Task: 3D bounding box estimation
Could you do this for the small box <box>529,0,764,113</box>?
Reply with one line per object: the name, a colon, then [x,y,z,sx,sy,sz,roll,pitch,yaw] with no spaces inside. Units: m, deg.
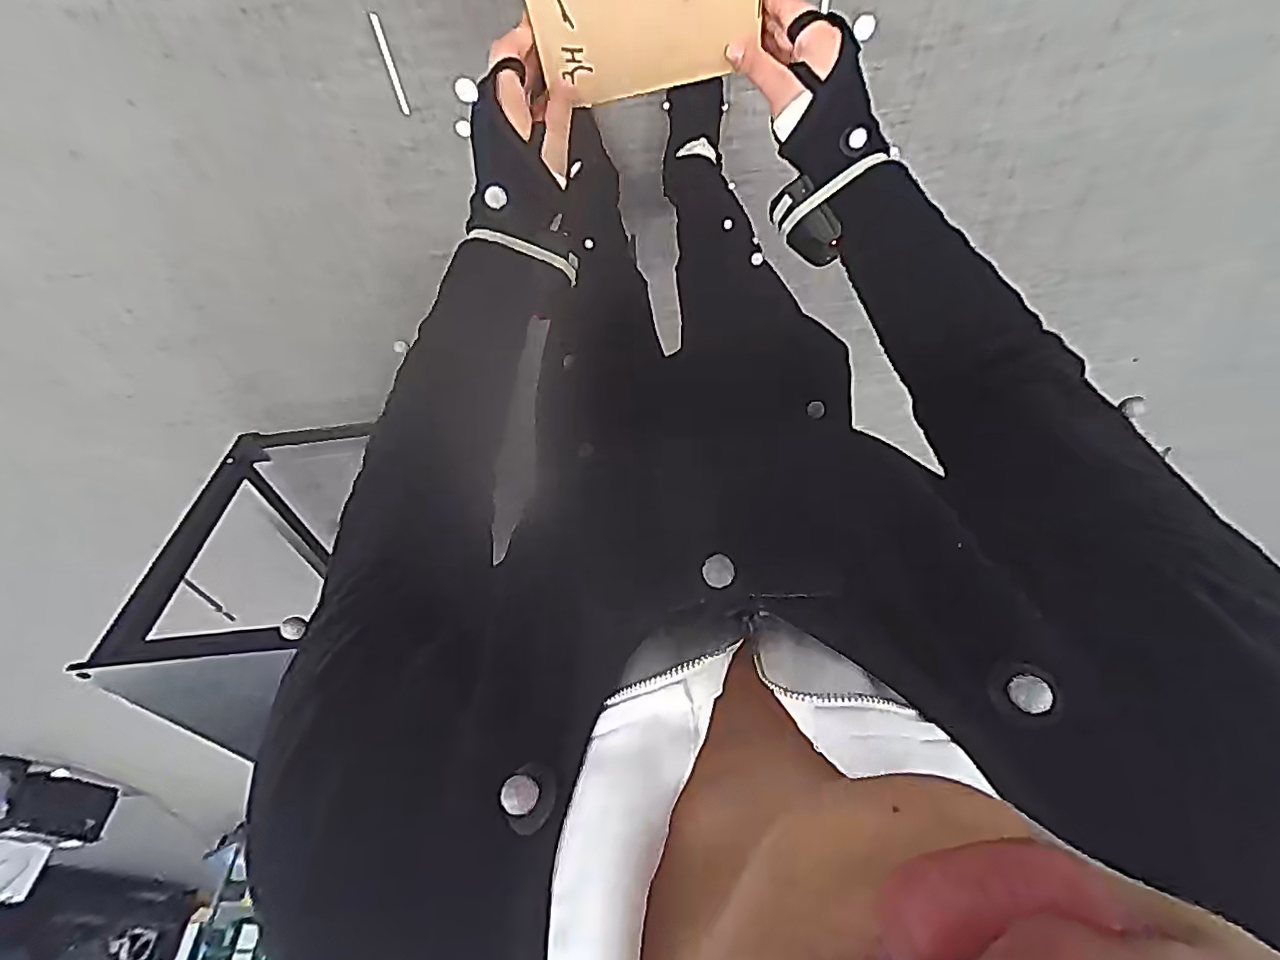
small box: [-0.007,-0.431,0.432,0.179,0.176,0.168,-11,141,2]
